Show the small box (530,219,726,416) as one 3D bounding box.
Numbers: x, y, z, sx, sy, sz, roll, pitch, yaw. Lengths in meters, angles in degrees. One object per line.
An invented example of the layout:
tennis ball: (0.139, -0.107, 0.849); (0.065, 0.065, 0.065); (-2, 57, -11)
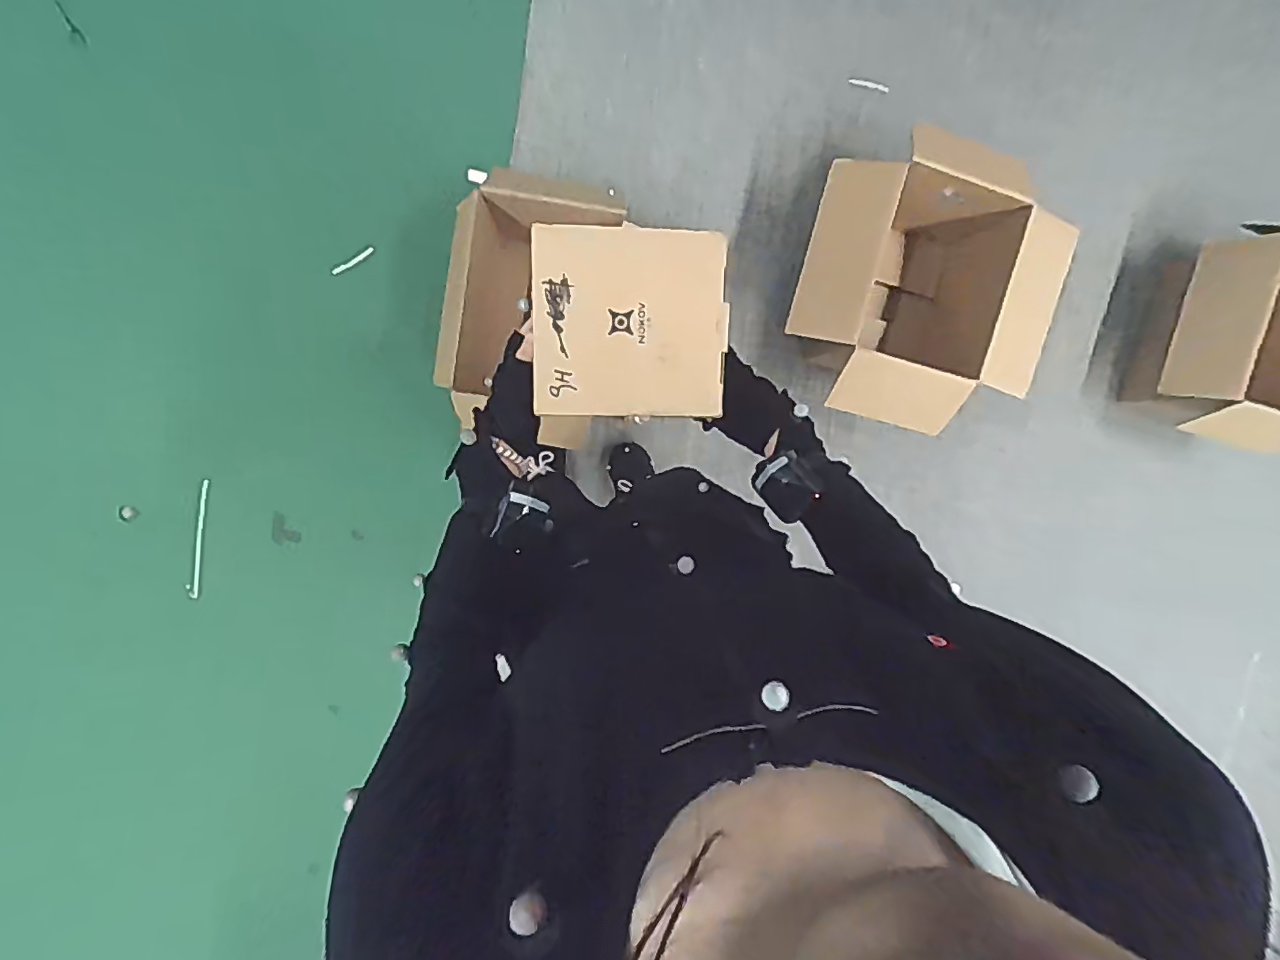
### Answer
small box: (-0.021, -0.154, 0.568); (0.179, 0.176, 0.168); (1, 96, -7)
